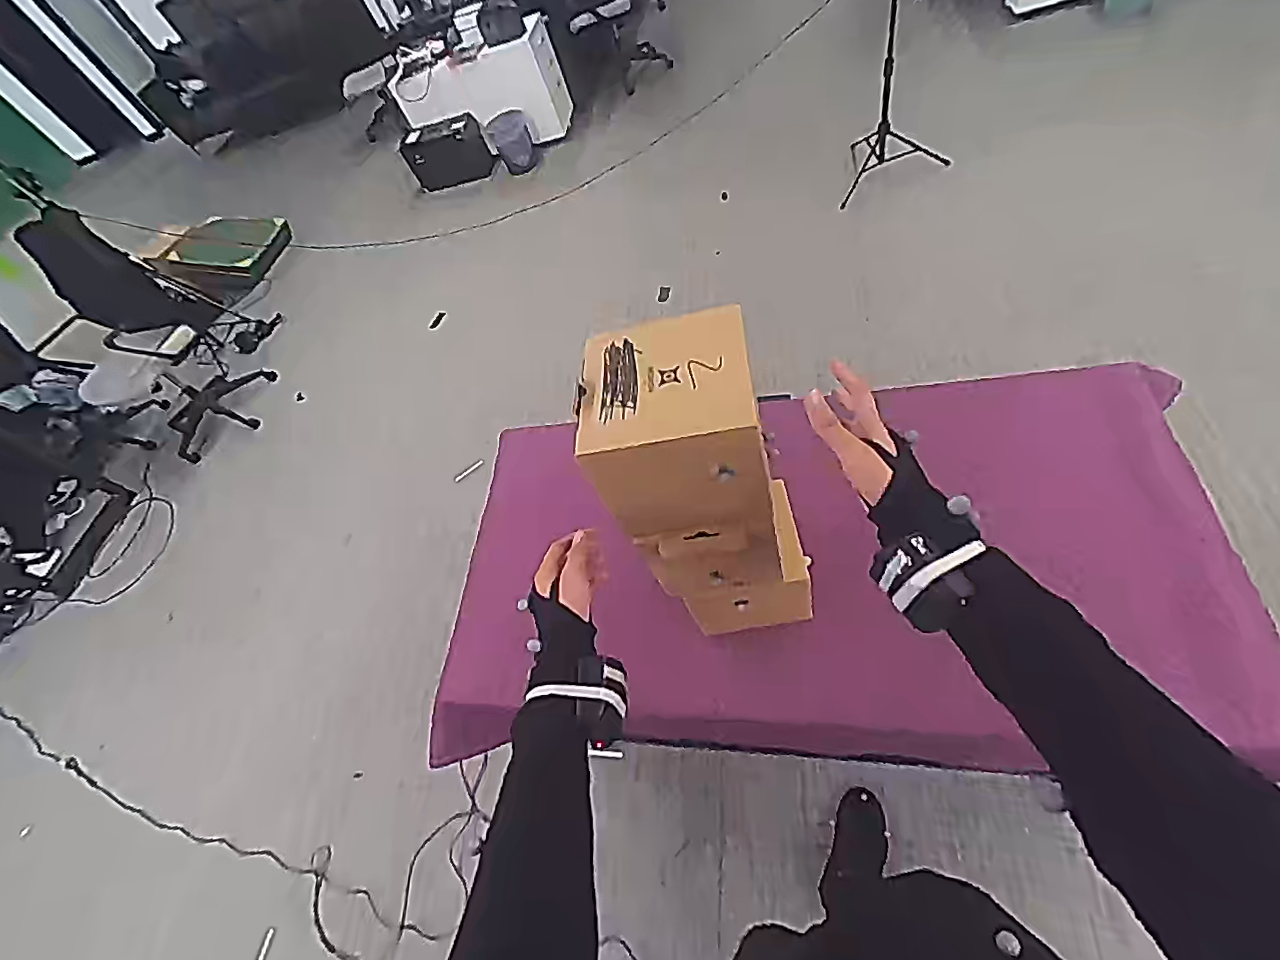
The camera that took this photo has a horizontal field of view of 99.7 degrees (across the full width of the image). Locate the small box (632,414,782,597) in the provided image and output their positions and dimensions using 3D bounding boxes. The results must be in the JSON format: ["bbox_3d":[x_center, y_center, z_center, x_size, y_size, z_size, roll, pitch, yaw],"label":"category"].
[{"bbox_3d":[0.093,0.041,0.726,0.168,0.176,0.179,-9,56,15],"label":"small box"}]

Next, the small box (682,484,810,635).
[{"bbox_3d":[0.160,0.132,0.848,0.179,0.176,0.168,-13,55,10],"label":"small box"}]
